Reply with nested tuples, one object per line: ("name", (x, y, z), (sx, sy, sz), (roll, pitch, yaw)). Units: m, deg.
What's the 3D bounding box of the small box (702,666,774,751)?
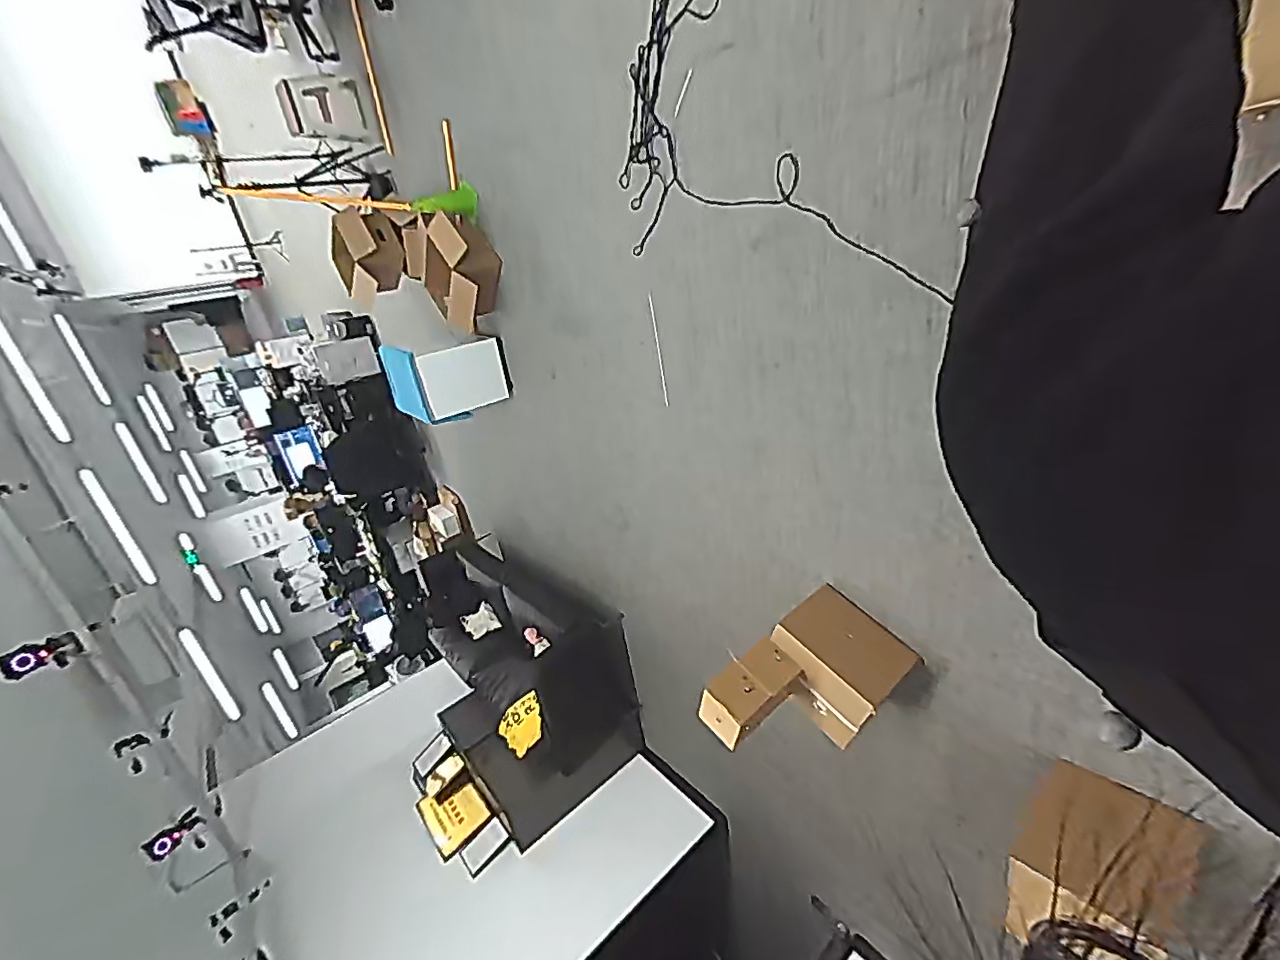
("small box", (0.338, 0.782, 1.861), (0.168, 0.176, 0.179), (37, 138, 36))
